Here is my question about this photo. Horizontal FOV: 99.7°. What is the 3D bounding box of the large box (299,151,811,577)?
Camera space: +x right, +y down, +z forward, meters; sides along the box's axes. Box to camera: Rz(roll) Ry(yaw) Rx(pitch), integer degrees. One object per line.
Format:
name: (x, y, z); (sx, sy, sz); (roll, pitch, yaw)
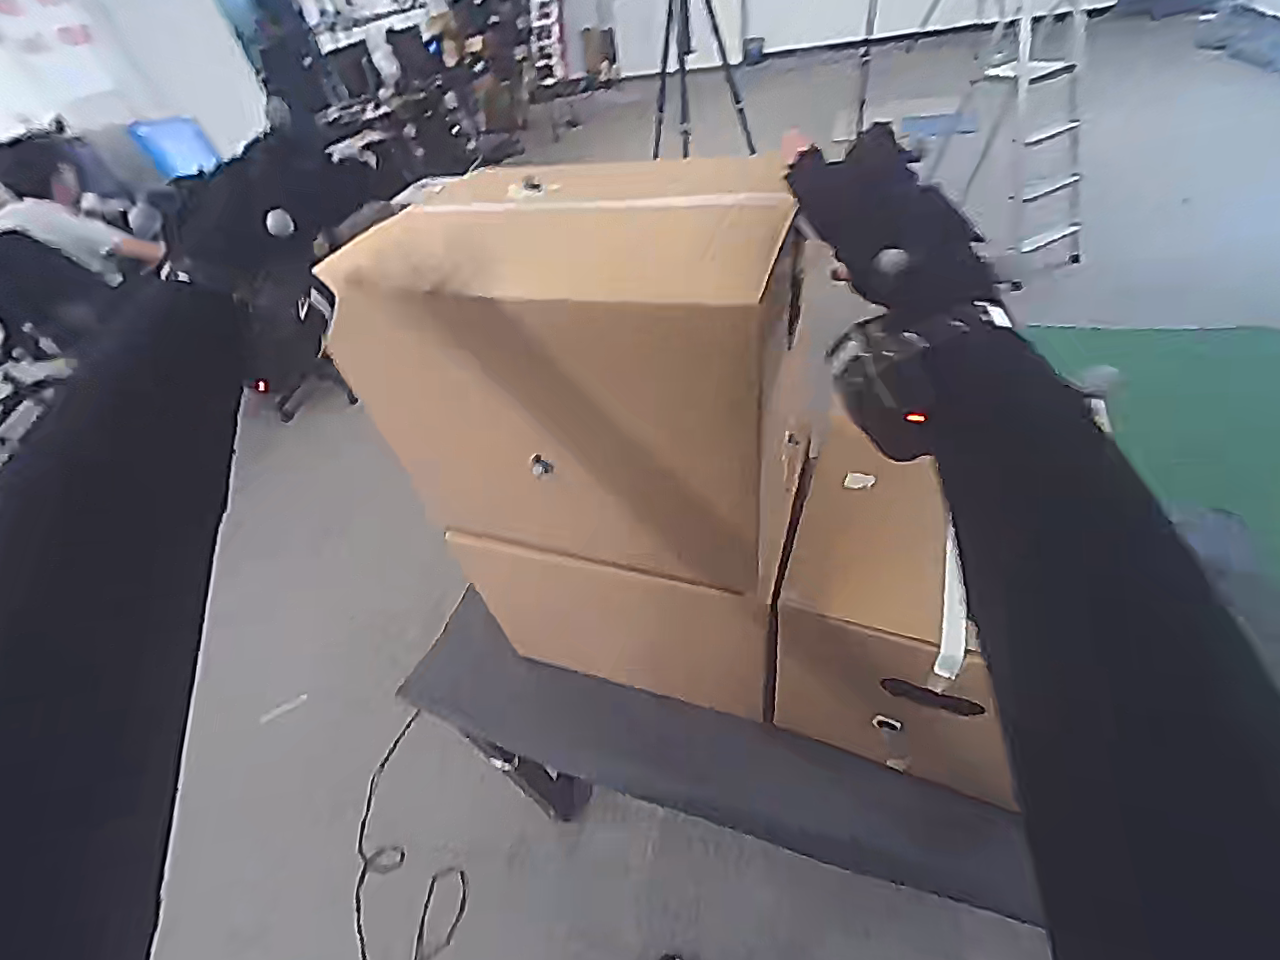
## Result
large box: (-0.039, -0.130, 0.599); (0.408, 0.320, 0.320); (8, 47, 21)
